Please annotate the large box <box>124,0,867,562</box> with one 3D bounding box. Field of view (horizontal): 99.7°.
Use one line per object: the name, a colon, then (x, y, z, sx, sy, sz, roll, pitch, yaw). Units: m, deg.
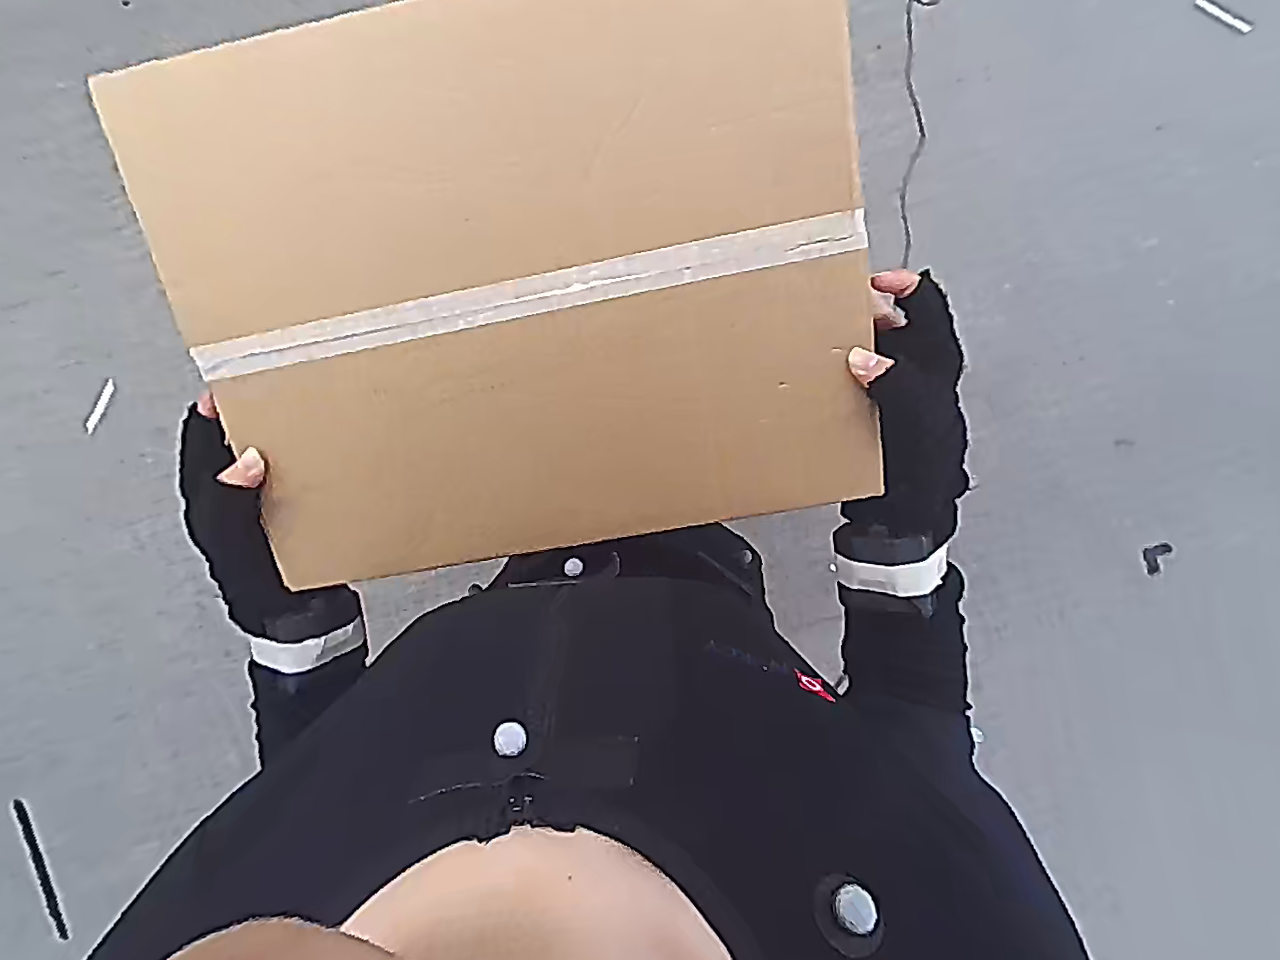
large box: (-0.071, -0.159, 0.472, 0.408, 0.320, 0.320, -10, 106, 4)
